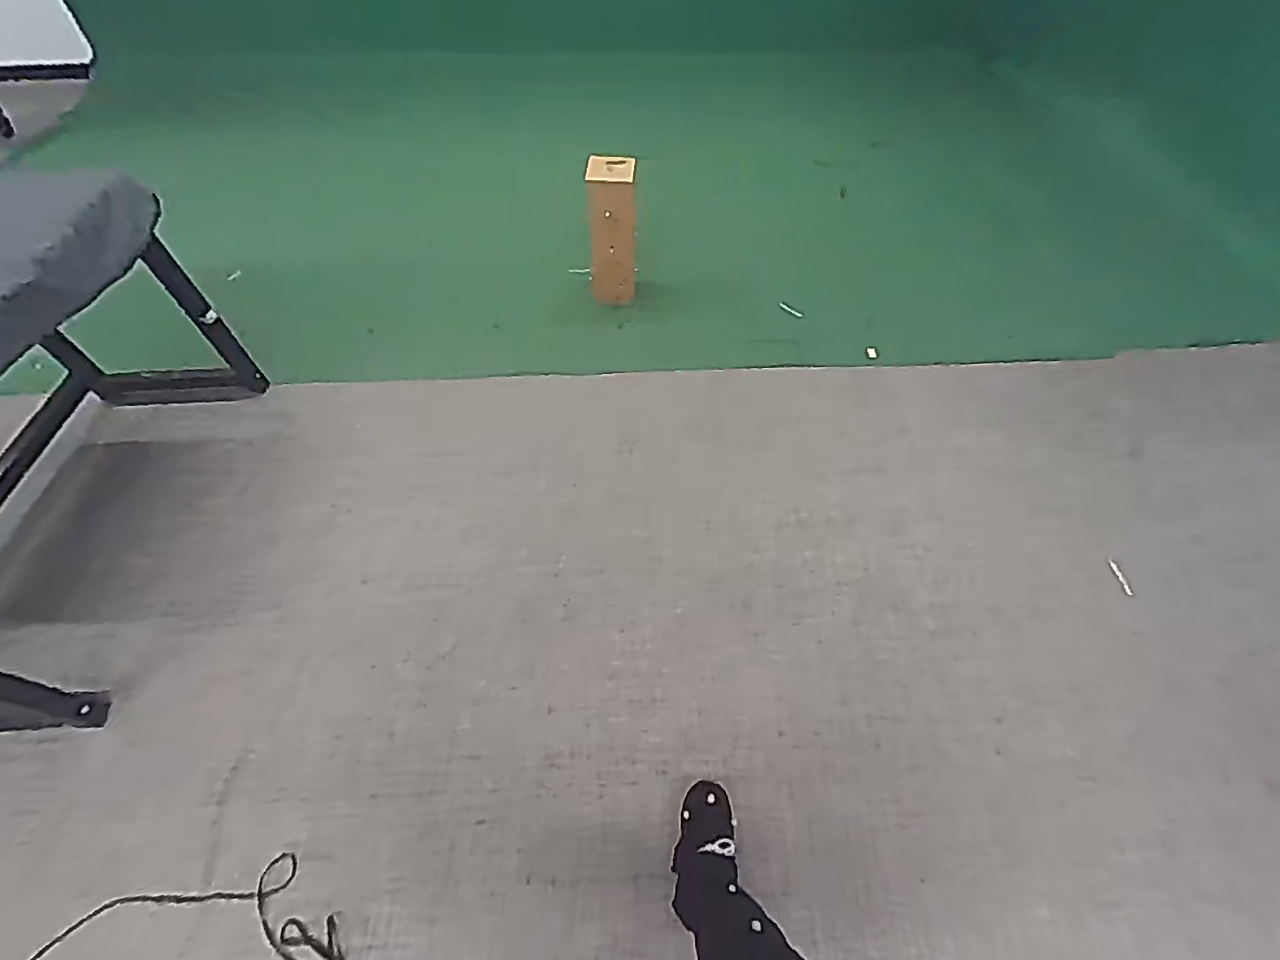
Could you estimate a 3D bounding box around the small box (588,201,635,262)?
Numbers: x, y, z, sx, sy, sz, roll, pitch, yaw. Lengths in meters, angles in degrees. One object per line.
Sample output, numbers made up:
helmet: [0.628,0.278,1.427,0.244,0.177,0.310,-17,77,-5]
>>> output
small box: [-0.106,-0.959,2.090,0.168,0.176,0.179,3,56,1]

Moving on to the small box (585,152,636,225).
small box: [-0.105,-1.054,1.955,0.168,0.176,0.179,3,56,1]

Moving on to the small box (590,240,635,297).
small box: [-0.111,-0.867,2.203,0.168,0.176,0.179,5,54,0]
